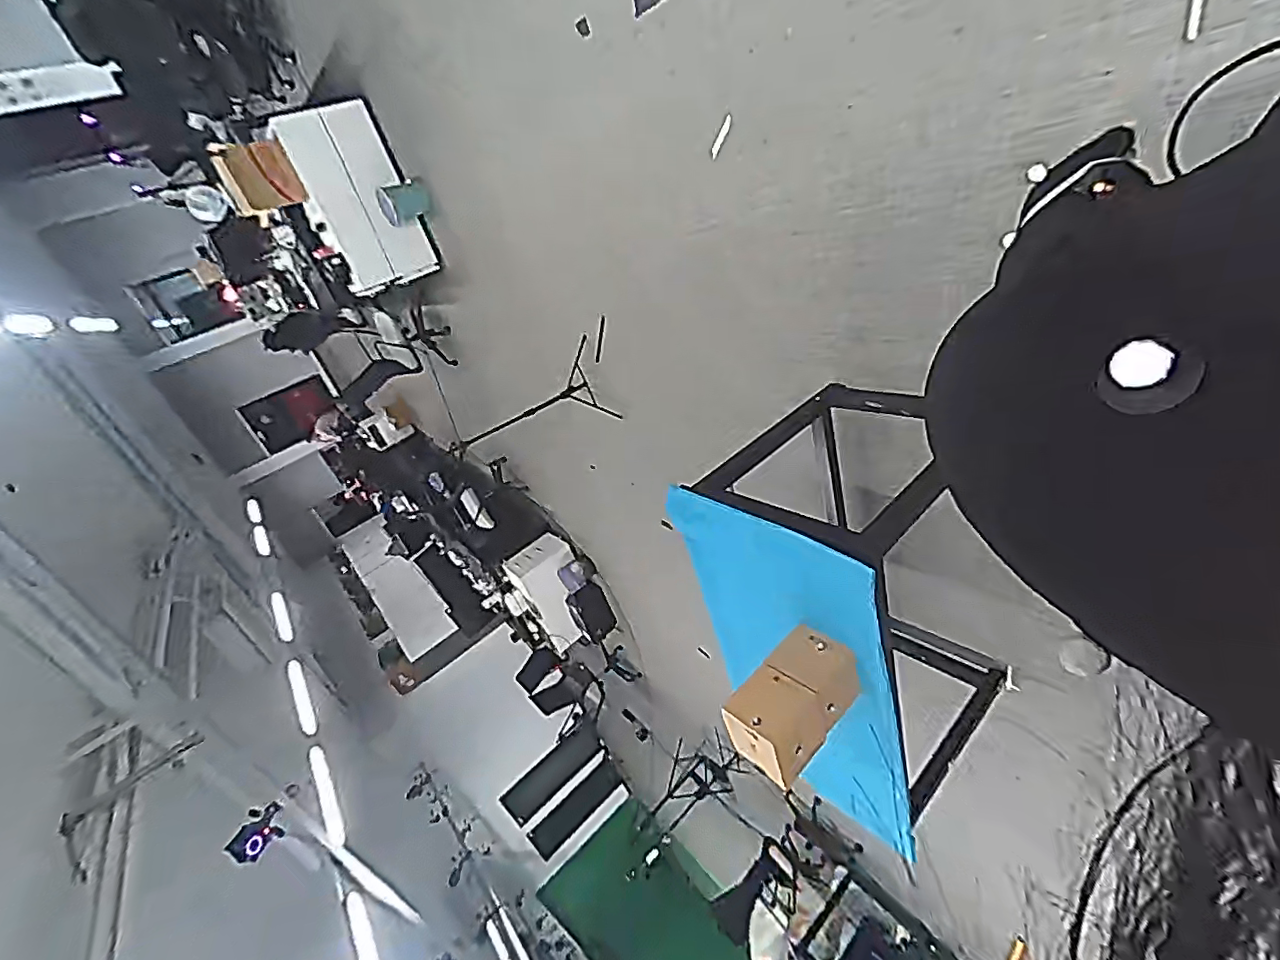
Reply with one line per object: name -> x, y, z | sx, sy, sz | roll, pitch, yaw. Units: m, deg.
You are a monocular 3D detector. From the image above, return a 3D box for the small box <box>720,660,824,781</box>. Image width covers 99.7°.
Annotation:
small box -> 0.333, 0.590, 1.344 | 0.168, 0.176, 0.179 | 16, 133, 53

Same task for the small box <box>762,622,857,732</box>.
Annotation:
small box -> 0.452, 0.512, 1.424 | 0.168, 0.176, 0.179 | 19, 137, 50
